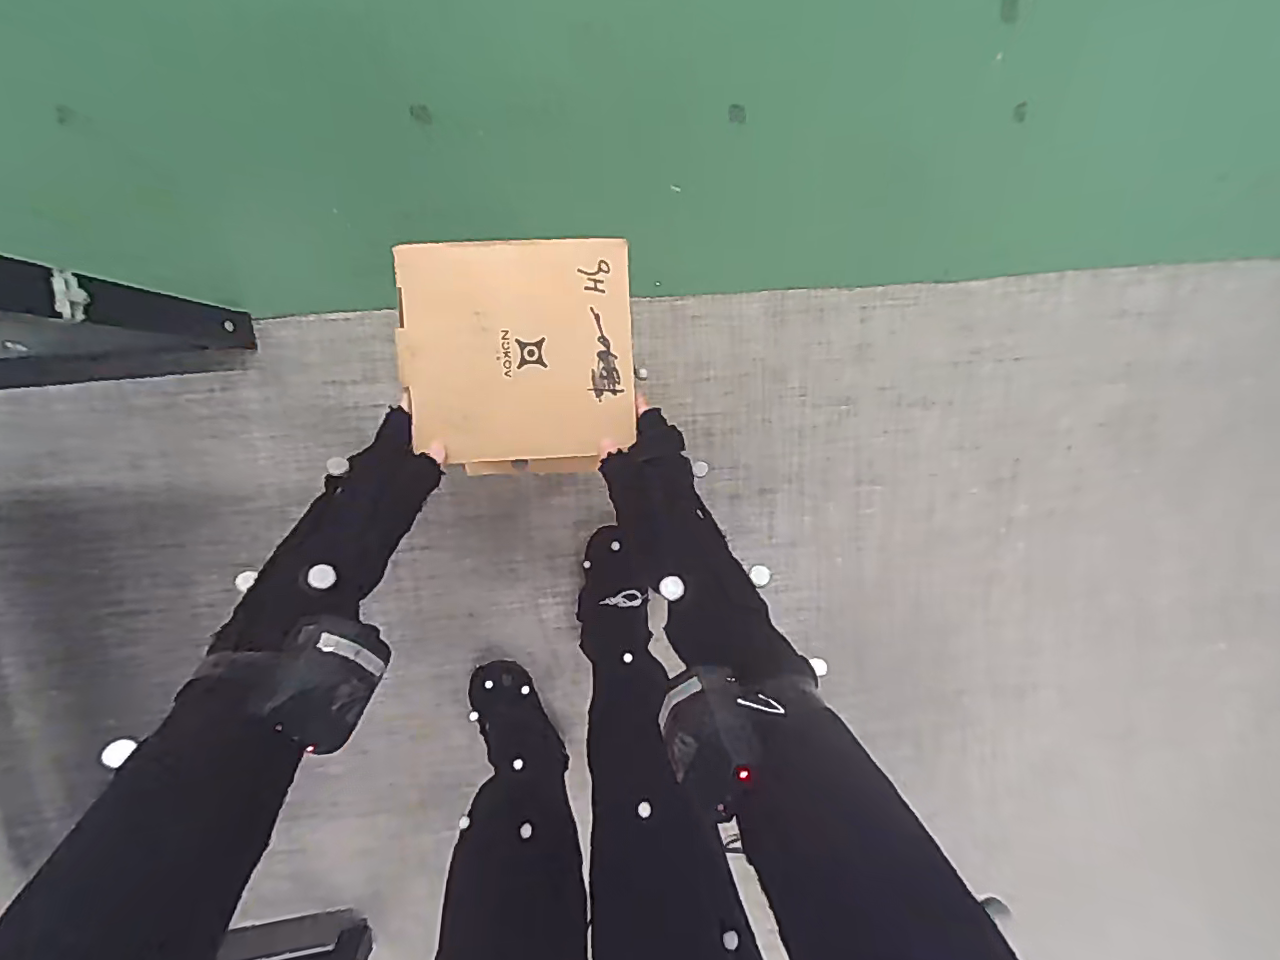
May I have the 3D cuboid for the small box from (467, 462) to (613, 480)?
[{"bbox_3d":[-0.120,-0.097,0.681,0.168,0.176,0.179,-1,99,-5],"label":"small box"}]

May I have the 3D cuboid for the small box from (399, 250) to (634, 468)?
[{"bbox_3d":[-0.097,-0.099,0.497,0.179,0.176,0.168,-3,96,-4],"label":"small box"}]
